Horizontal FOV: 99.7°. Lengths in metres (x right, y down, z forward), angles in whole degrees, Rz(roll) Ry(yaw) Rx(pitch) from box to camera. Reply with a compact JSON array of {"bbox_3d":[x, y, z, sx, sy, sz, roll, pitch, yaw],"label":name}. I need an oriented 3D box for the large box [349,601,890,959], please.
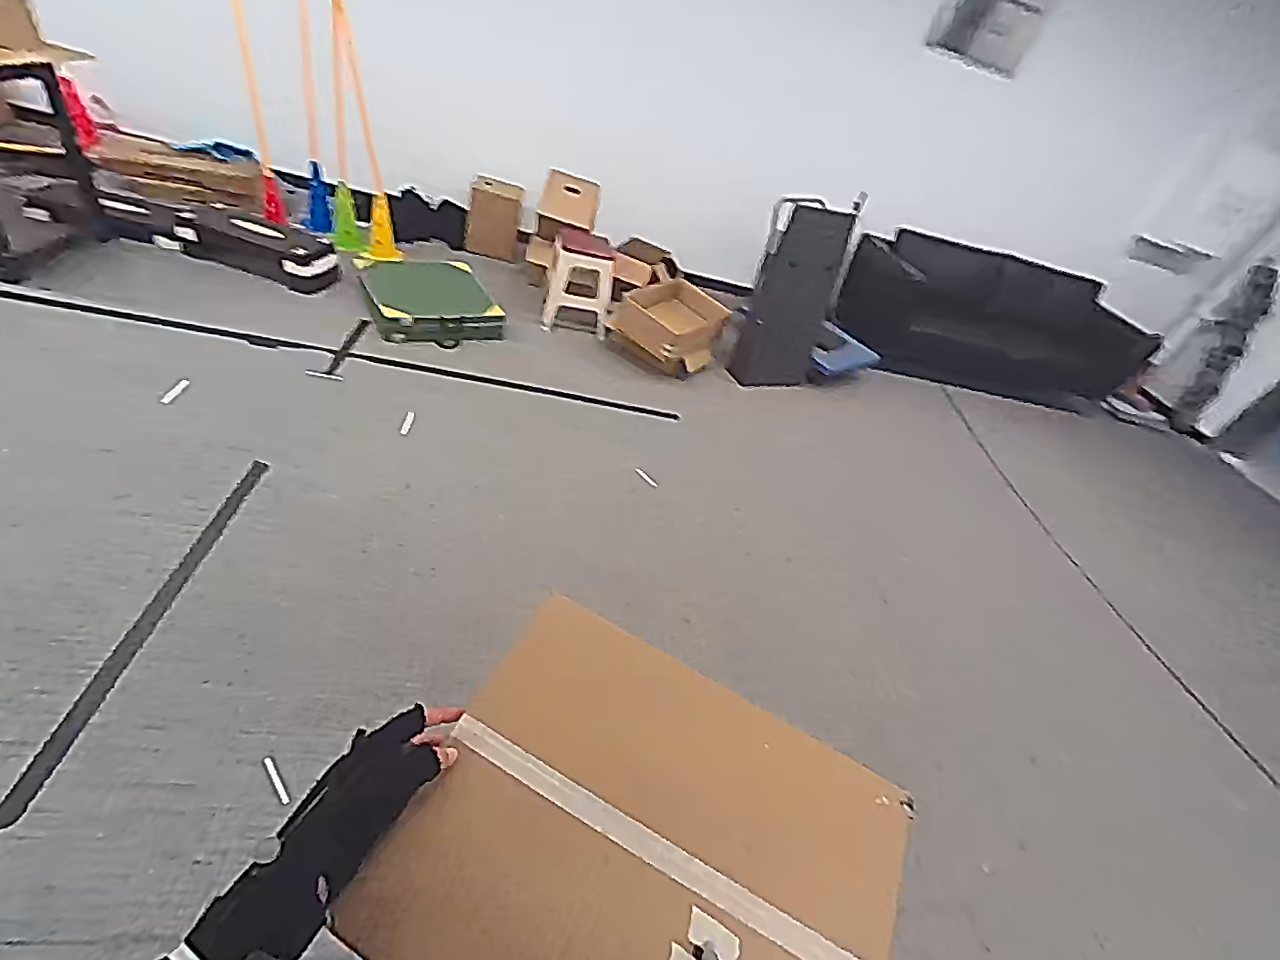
[{"bbox_3d":[-0.015,0.408,0.592,0.408,0.320,0.320,27,52,9],"label":"large box"}]
